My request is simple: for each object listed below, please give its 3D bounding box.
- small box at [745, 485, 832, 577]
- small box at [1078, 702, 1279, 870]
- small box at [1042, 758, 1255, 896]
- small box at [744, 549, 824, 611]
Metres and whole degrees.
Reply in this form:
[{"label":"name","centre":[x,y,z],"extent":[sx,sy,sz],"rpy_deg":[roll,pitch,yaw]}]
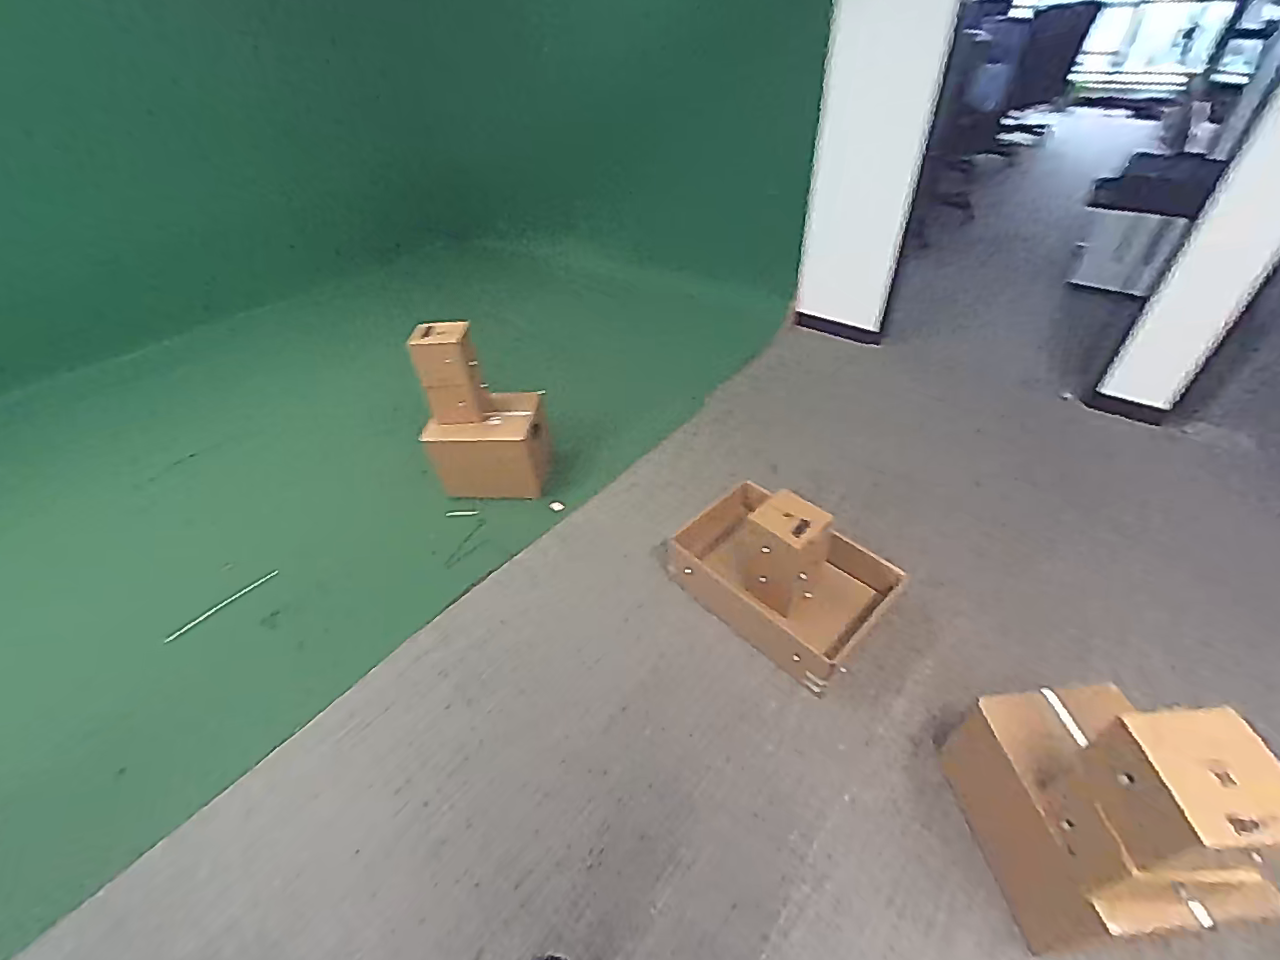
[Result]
[{"label":"small box","centre":[0.423,0.153,1.562],"extent":[0.168,0.176,0.179],"rpy_deg":[-34,48,-27]},{"label":"small box","centre":[0.819,0.461,0.815],"extent":[0.168,0.176,0.179],"rpy_deg":[-6,43,5]},{"label":"small box","centre":[0.838,0.588,0.918],"extent":[0.179,0.176,0.168],"rpy_deg":[-3,44,7]},{"label":"small box","centre":[0.438,0.271,1.674],"extent":[0.168,0.176,0.179],"rpy_deg":[-35,51,-27]}]
